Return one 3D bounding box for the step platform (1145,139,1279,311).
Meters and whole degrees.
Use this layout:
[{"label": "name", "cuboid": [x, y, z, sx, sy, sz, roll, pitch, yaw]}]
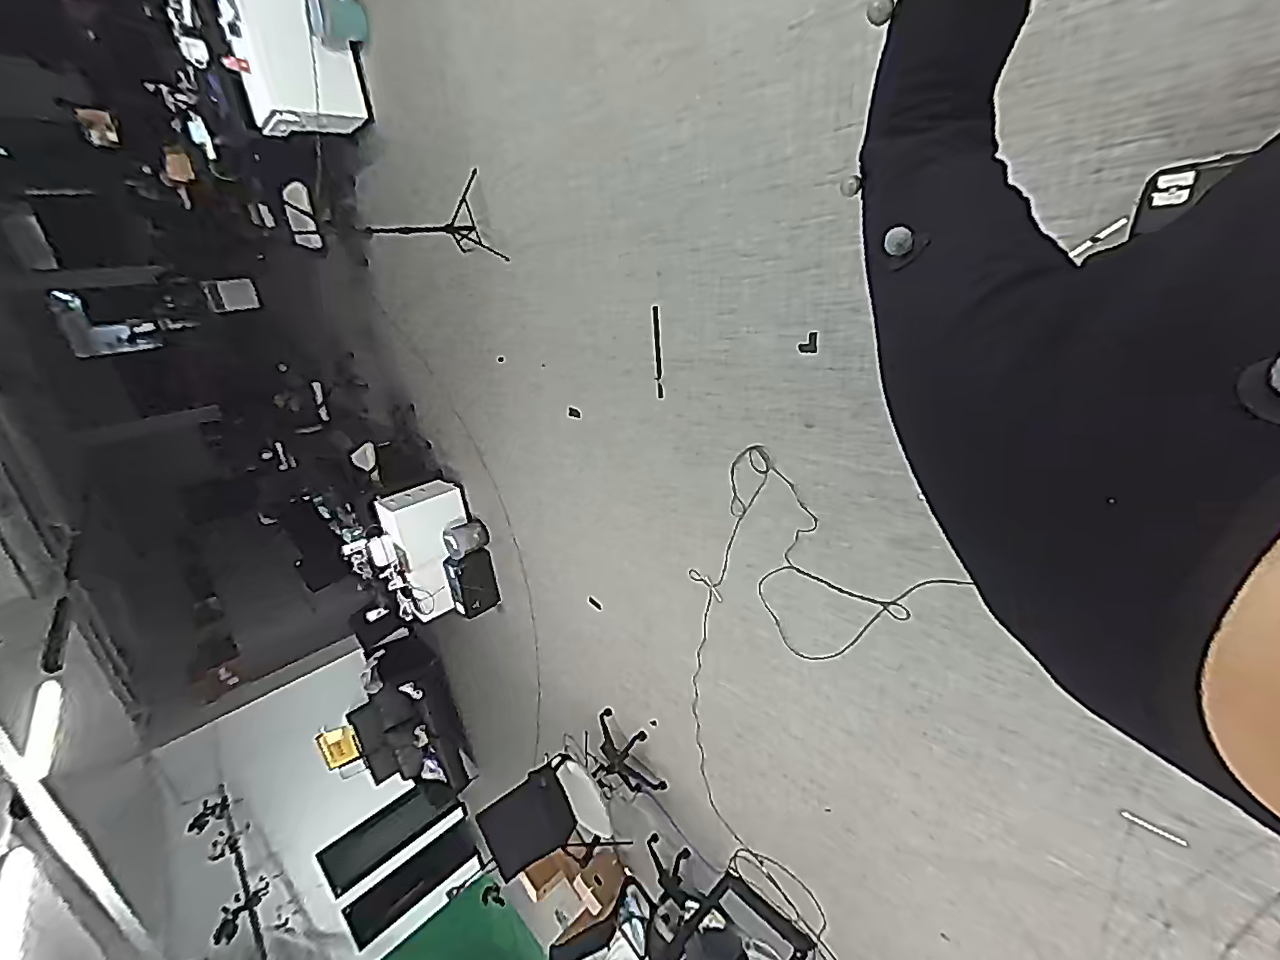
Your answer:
[{"label": "step platform", "cuboid": [1.278, -0.437, 0.866, 0.684, 0.204, 0.286, 13, 119, 45]}]
